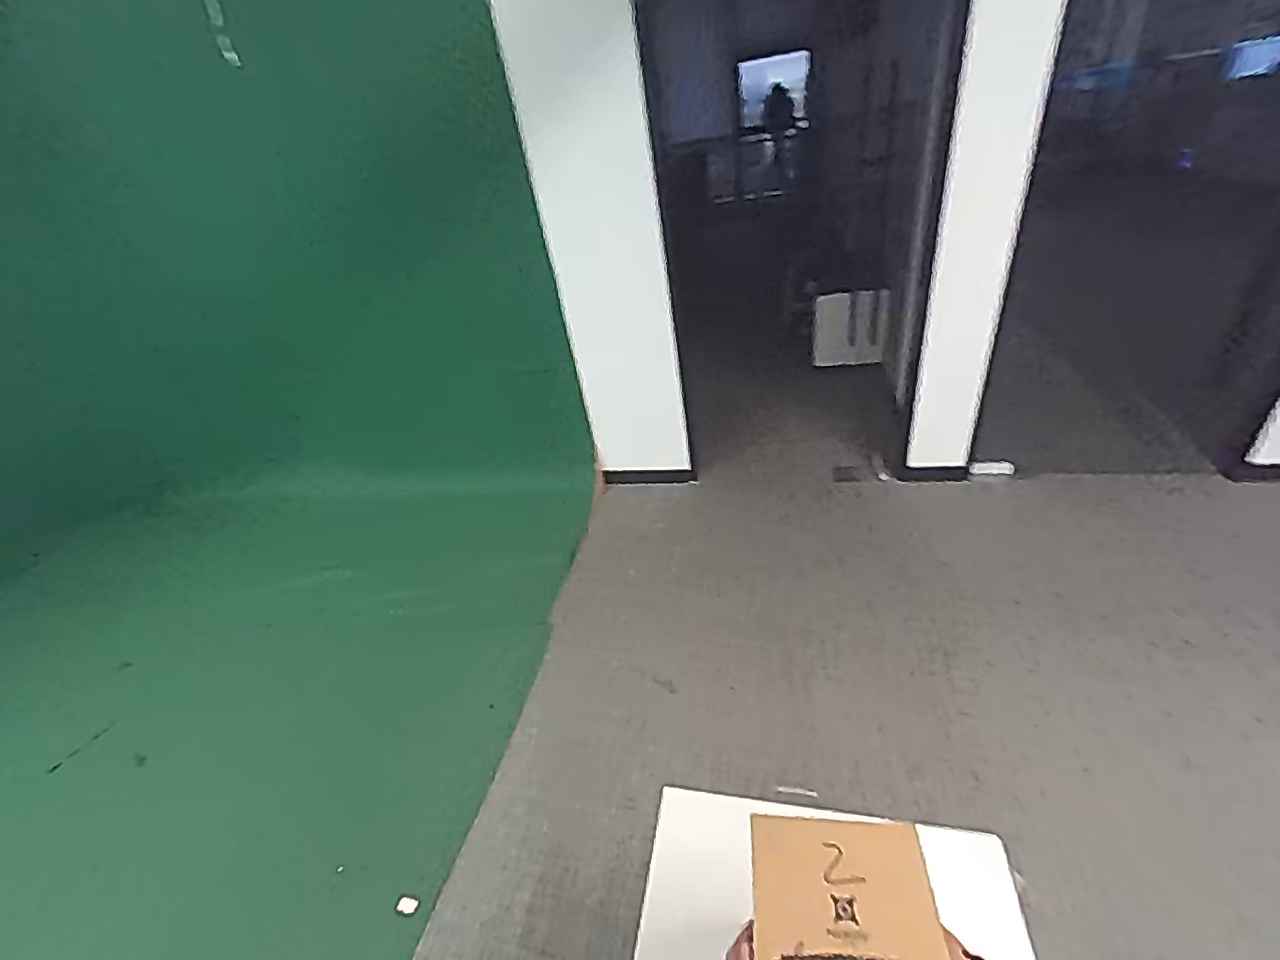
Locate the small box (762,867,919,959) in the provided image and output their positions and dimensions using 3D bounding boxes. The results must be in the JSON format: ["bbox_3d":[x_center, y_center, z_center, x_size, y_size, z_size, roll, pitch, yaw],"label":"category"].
[{"bbox_3d":[0.223,0.587,0.615,0.168,0.176,0.179,-1,34,15],"label":"small box"}]
